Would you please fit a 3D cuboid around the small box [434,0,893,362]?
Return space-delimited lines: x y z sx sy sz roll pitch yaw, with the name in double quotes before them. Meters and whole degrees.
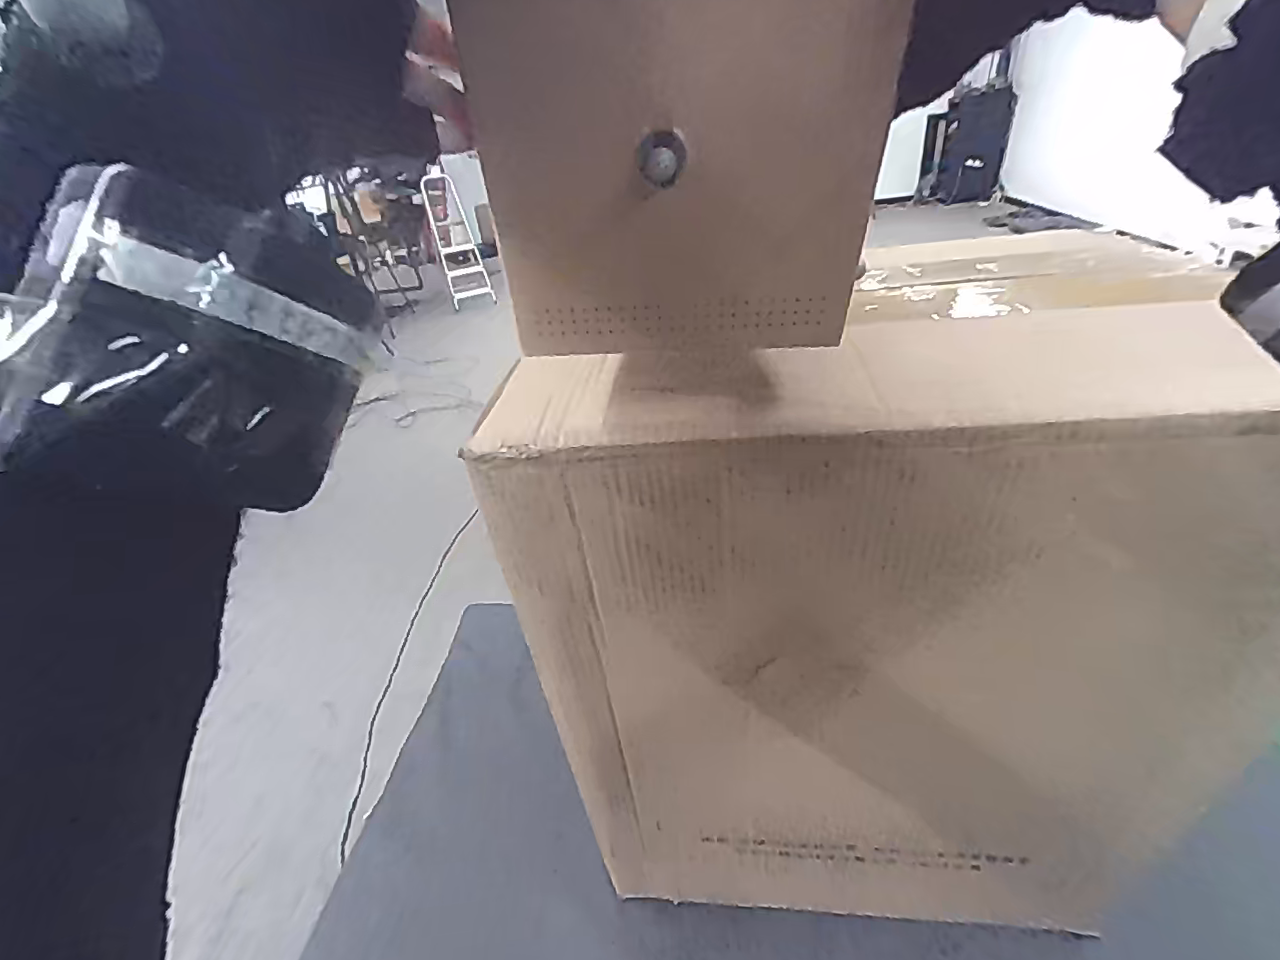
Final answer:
"small box" 0.015 -0.182 0.309 0.179 0.176 0.168 -2 43 4
